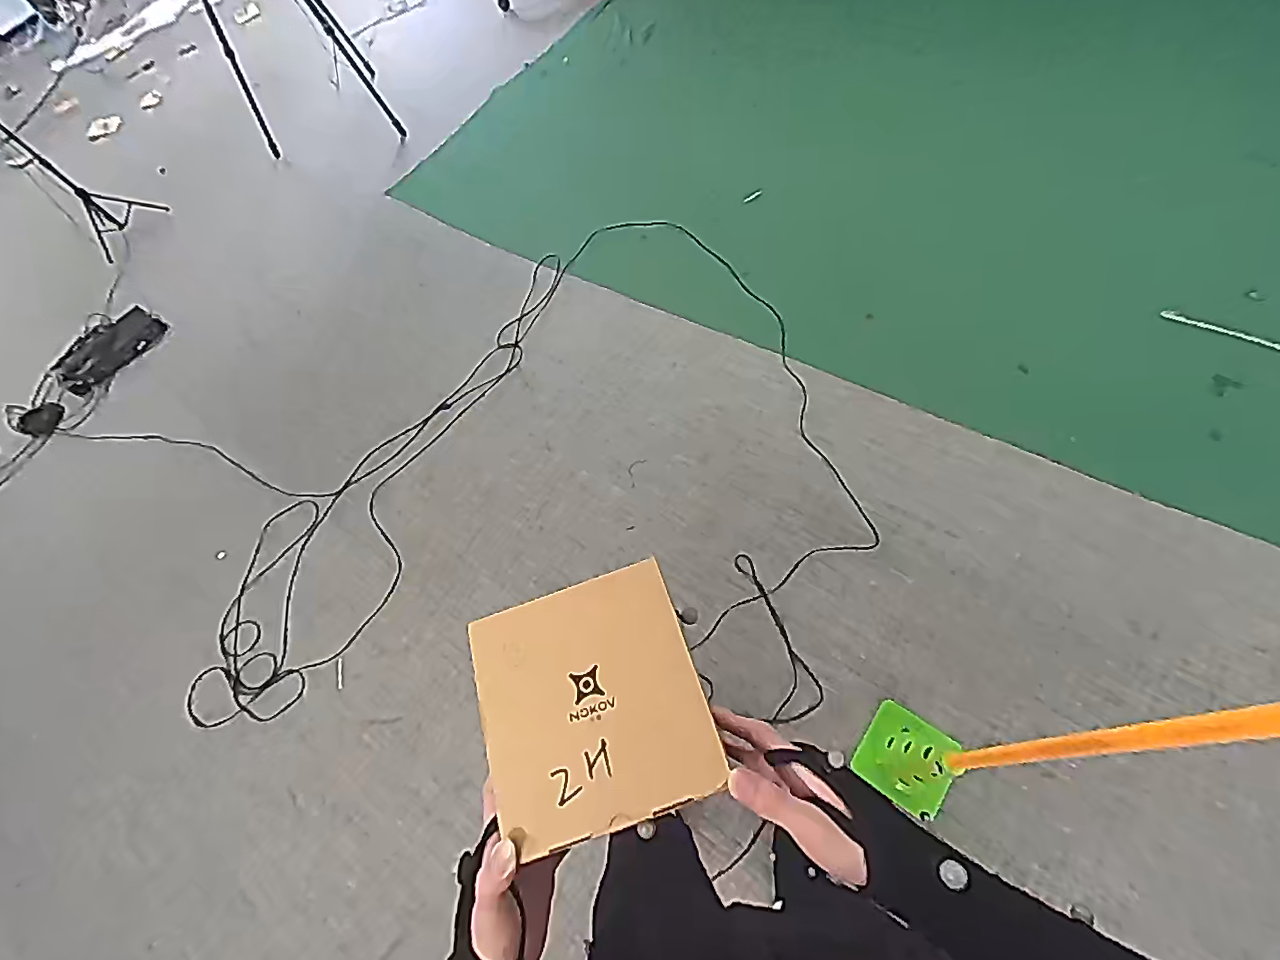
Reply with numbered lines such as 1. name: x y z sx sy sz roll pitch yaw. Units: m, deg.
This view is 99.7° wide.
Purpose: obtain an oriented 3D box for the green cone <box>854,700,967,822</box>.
1. green cone: 0.604 0.577 1.127 0.202 0.368 0.200 30 72 24
